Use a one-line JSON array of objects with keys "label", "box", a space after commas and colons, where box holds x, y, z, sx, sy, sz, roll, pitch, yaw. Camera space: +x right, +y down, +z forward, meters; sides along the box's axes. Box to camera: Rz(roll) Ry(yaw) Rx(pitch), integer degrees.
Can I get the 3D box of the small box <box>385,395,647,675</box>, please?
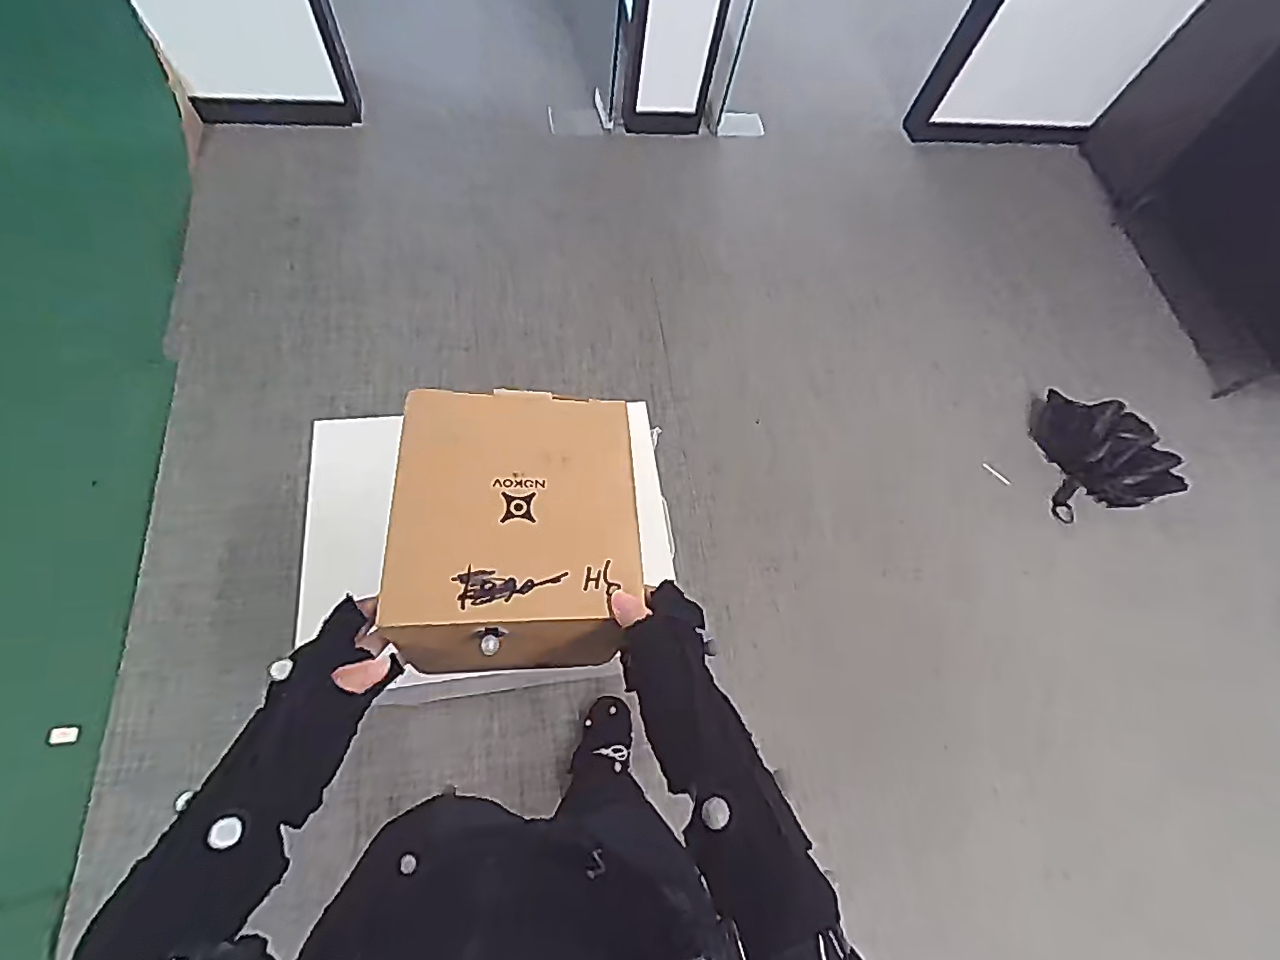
[{"label": "small box", "box": [-0.097, 0.052, 0.449, 0.168, 0.176, 0.179, 1, 61, -12]}]
